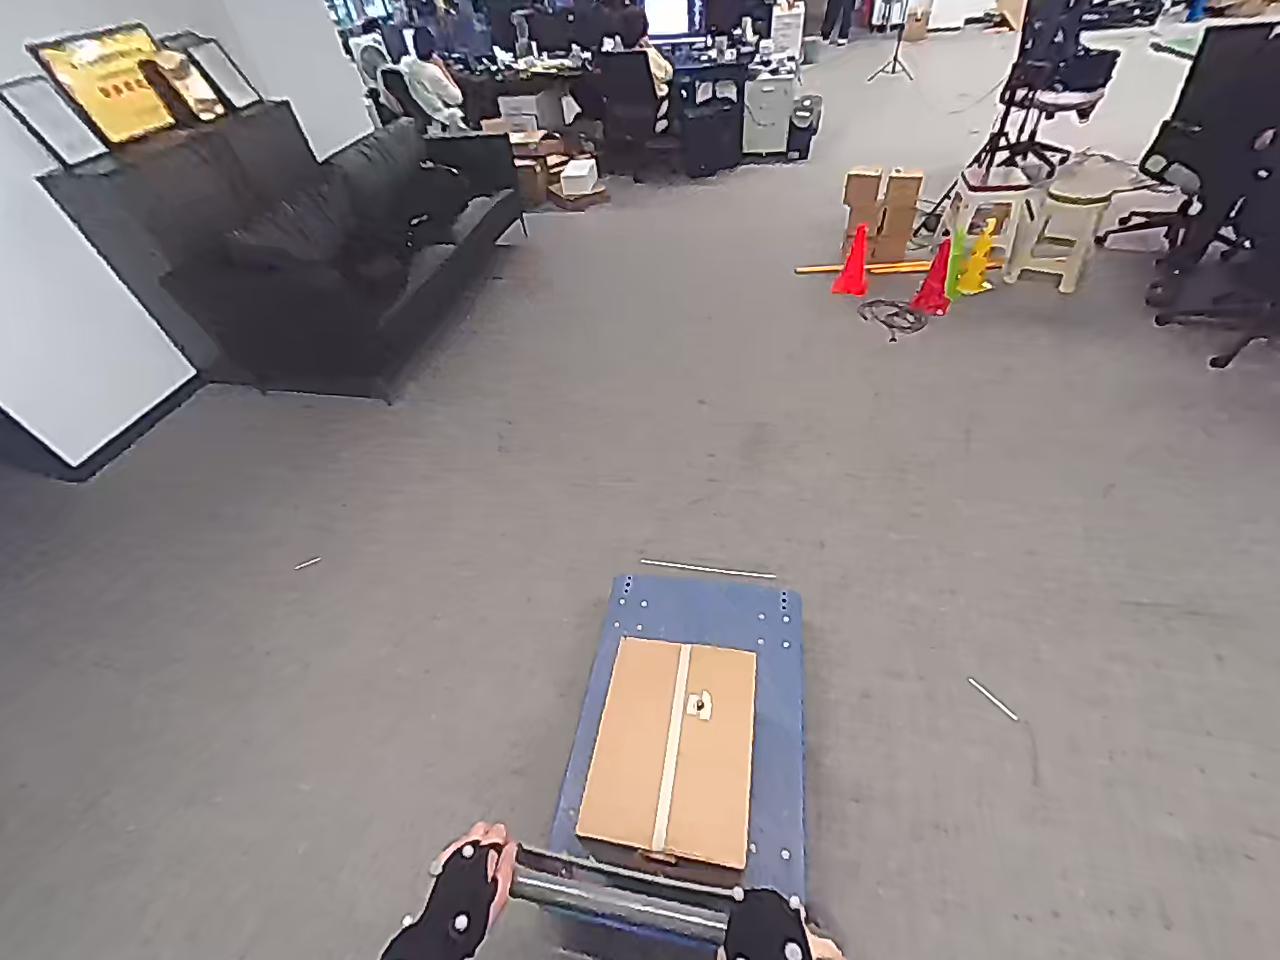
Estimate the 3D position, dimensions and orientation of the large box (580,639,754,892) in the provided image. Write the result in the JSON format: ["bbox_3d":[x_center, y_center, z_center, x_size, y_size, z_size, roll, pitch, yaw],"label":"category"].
[{"bbox_3d":[0.087,0.622,1.197,0.320,0.320,0.408,3,46,12],"label":"large box"}]
